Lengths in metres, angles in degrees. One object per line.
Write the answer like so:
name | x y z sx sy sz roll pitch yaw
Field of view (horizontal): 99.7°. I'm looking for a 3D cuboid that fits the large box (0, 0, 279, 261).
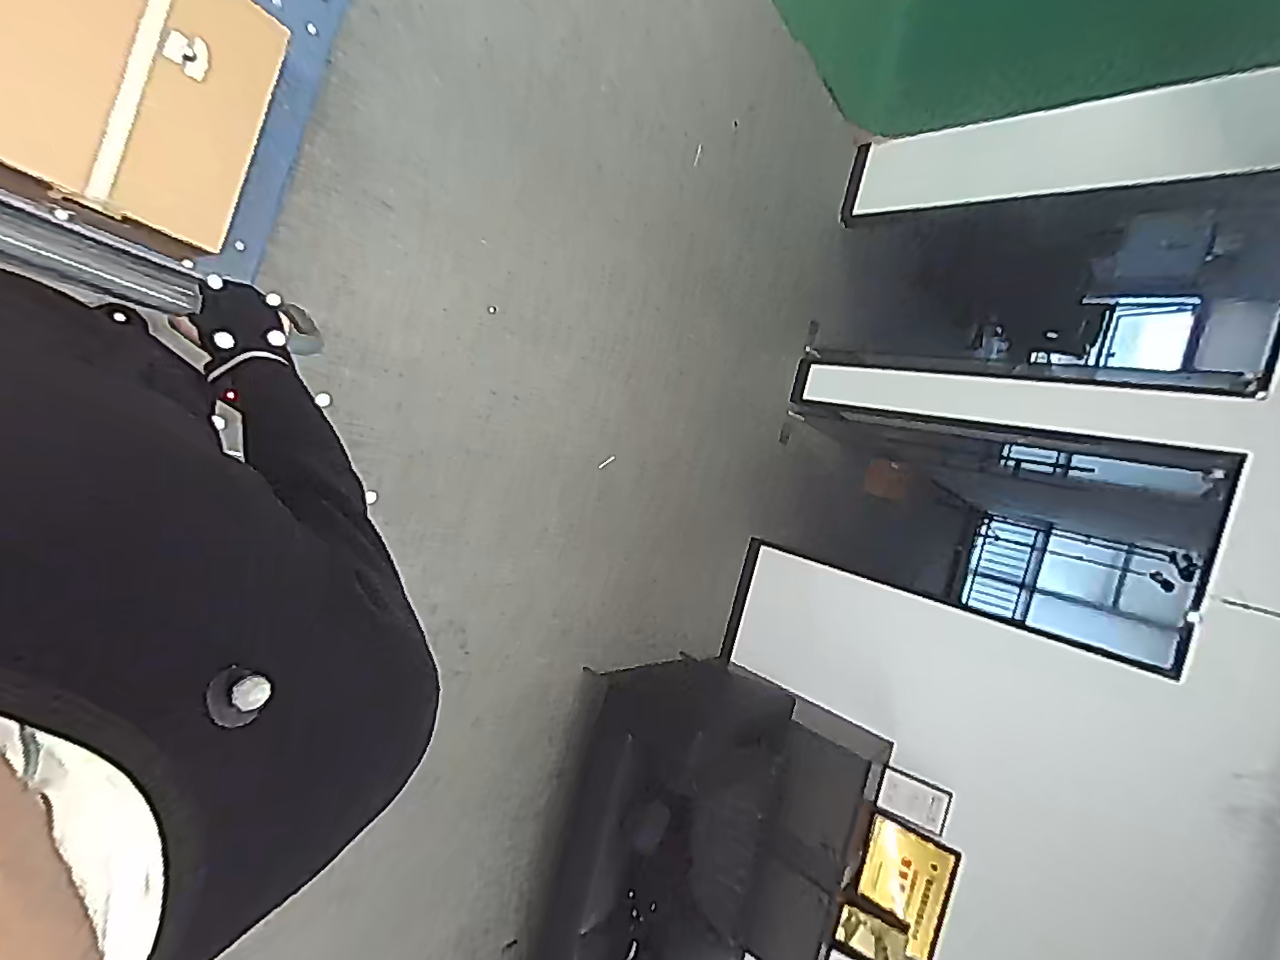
large box | -0.871 -0.635 0.902 0.320 0.320 0.408 18 88 -50
